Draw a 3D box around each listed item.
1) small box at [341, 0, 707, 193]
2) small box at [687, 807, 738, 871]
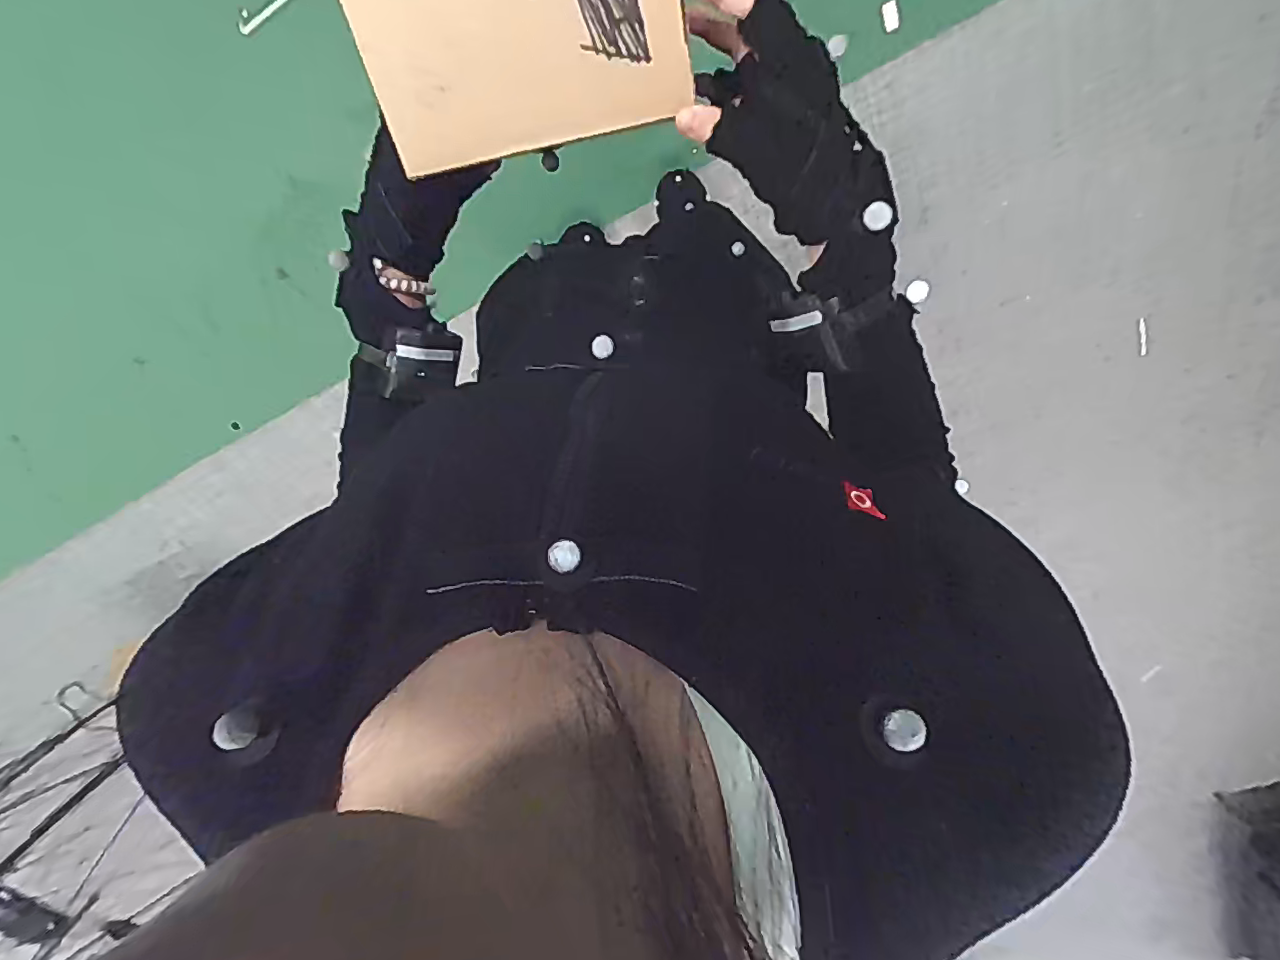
[{"bbox_3d":[-0.067,-0.293,0.331,0.179,0.176,0.168,-11,124,4],"label":"small box"},{"bbox_3d":[0.322,1.617,2.440,0.179,0.176,0.168,-26,116,13],"label":"small box"}]
